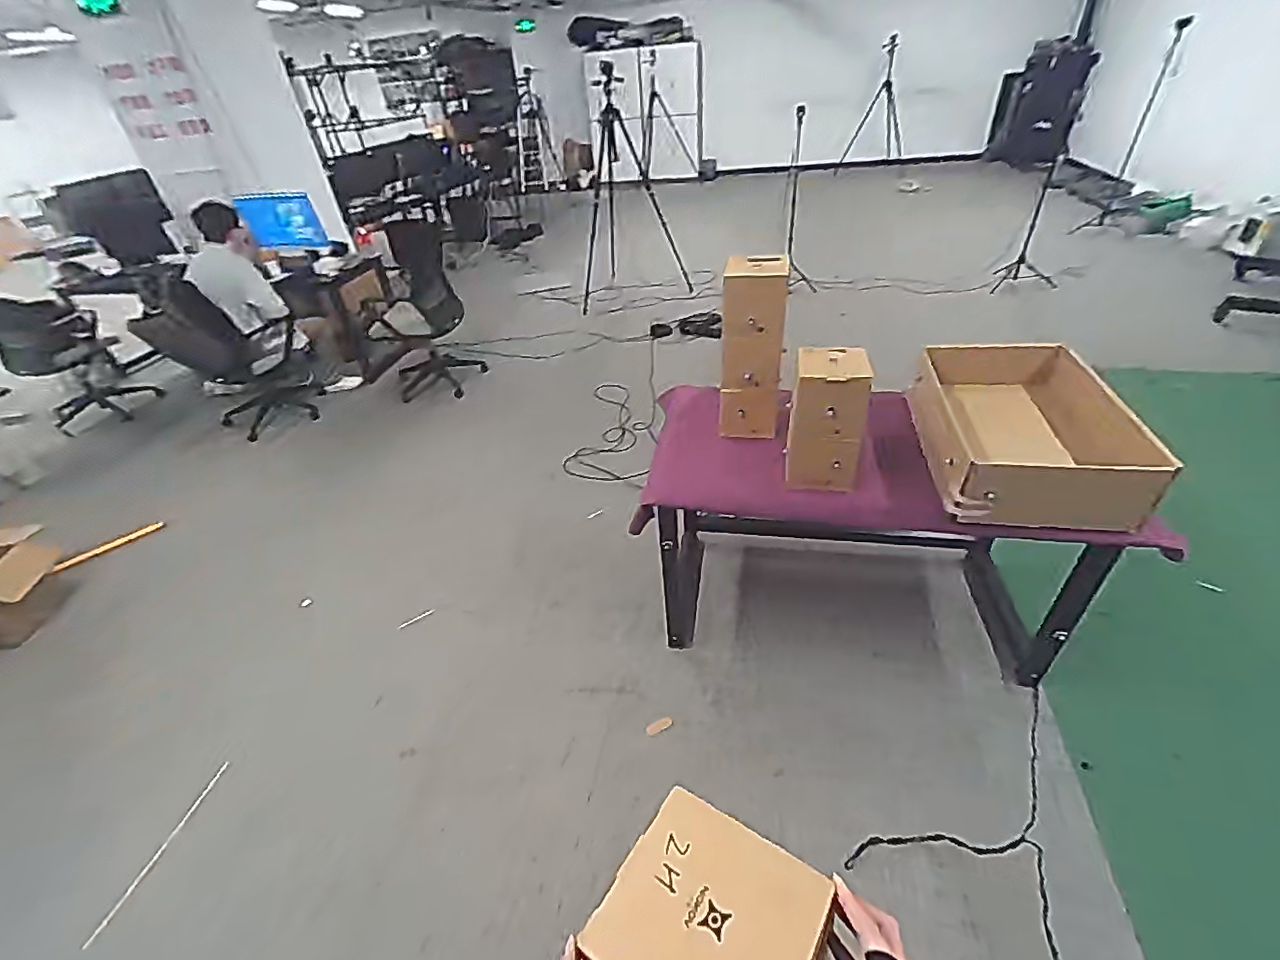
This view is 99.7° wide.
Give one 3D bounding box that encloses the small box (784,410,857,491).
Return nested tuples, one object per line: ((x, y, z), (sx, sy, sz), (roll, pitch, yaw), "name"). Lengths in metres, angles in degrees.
((0.484, -0.087, 1.462), (0.168, 0.176, 0.179), (4, 37, 12), "small box")

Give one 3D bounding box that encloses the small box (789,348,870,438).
((0.472, -0.219, 1.367), (0.168, 0.176, 0.179), (4, 38, 11), "small box")

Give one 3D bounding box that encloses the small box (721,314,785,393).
((0.330, -0.373, 1.590), (0.168, 0.176, 0.179), (5, 39, 14), "small box")

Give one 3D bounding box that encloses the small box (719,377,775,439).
((0.336, -0.241, 1.688), (0.168, 0.176, 0.179), (2, 37, 11), "small box")
